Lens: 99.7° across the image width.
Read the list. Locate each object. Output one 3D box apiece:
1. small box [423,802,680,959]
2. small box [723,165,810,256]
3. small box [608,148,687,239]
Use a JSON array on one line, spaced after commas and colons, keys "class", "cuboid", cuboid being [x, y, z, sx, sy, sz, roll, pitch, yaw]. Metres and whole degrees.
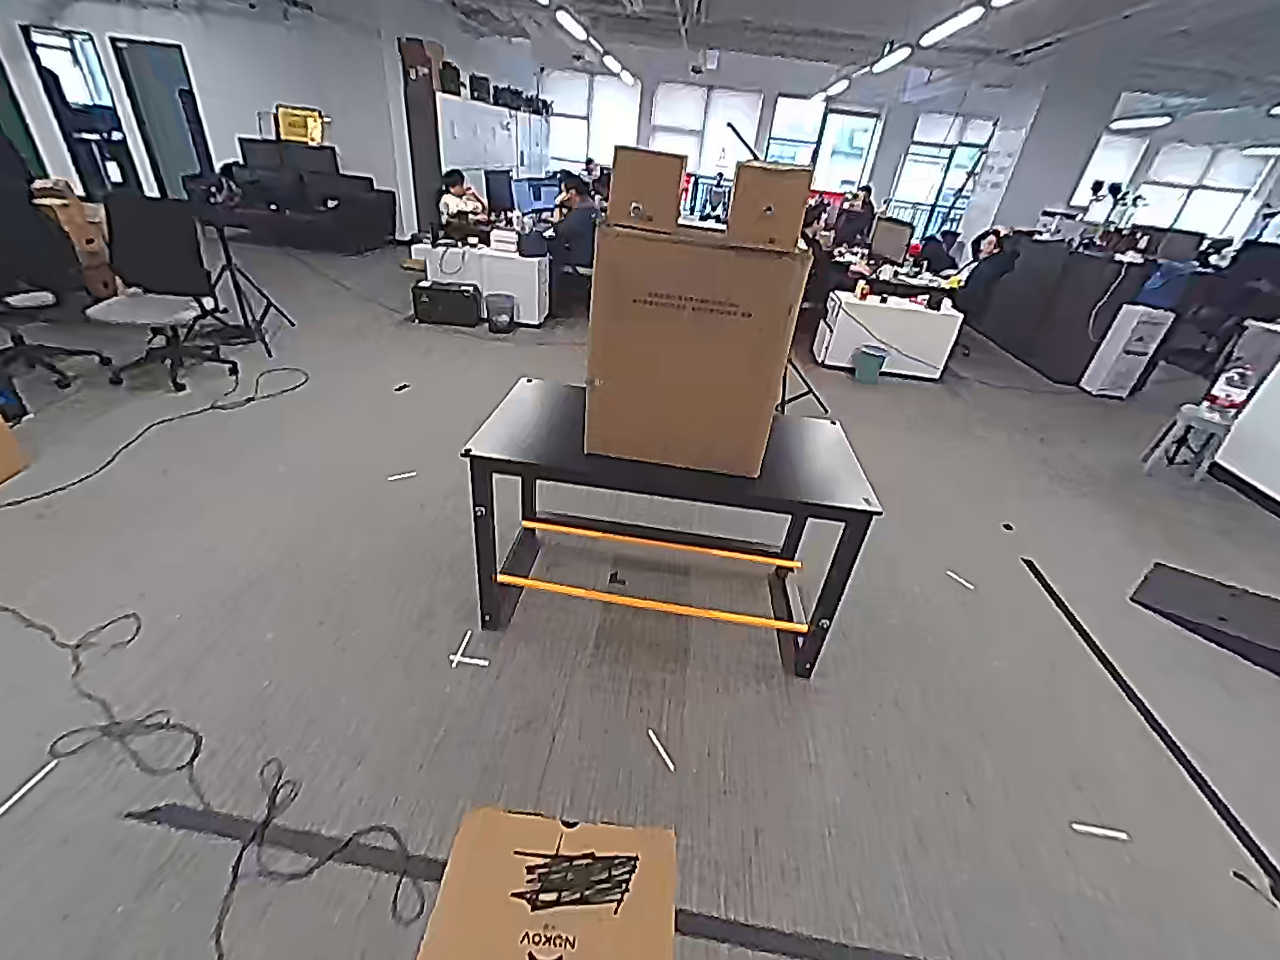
[{"class": "small box", "cuboid": [-0.063, 0.375, 0.394, 0.168, 0.176, 0.179, 5, 32, 1]}, {"class": "small box", "cuboid": [0.292, -0.637, 1.276, 0.168, 0.176, 0.179, 7, 34, 3]}, {"class": "small box", "cuboid": [0.018, -0.705, 1.331, 0.168, 0.176, 0.179, 9, 32, 2]}]
